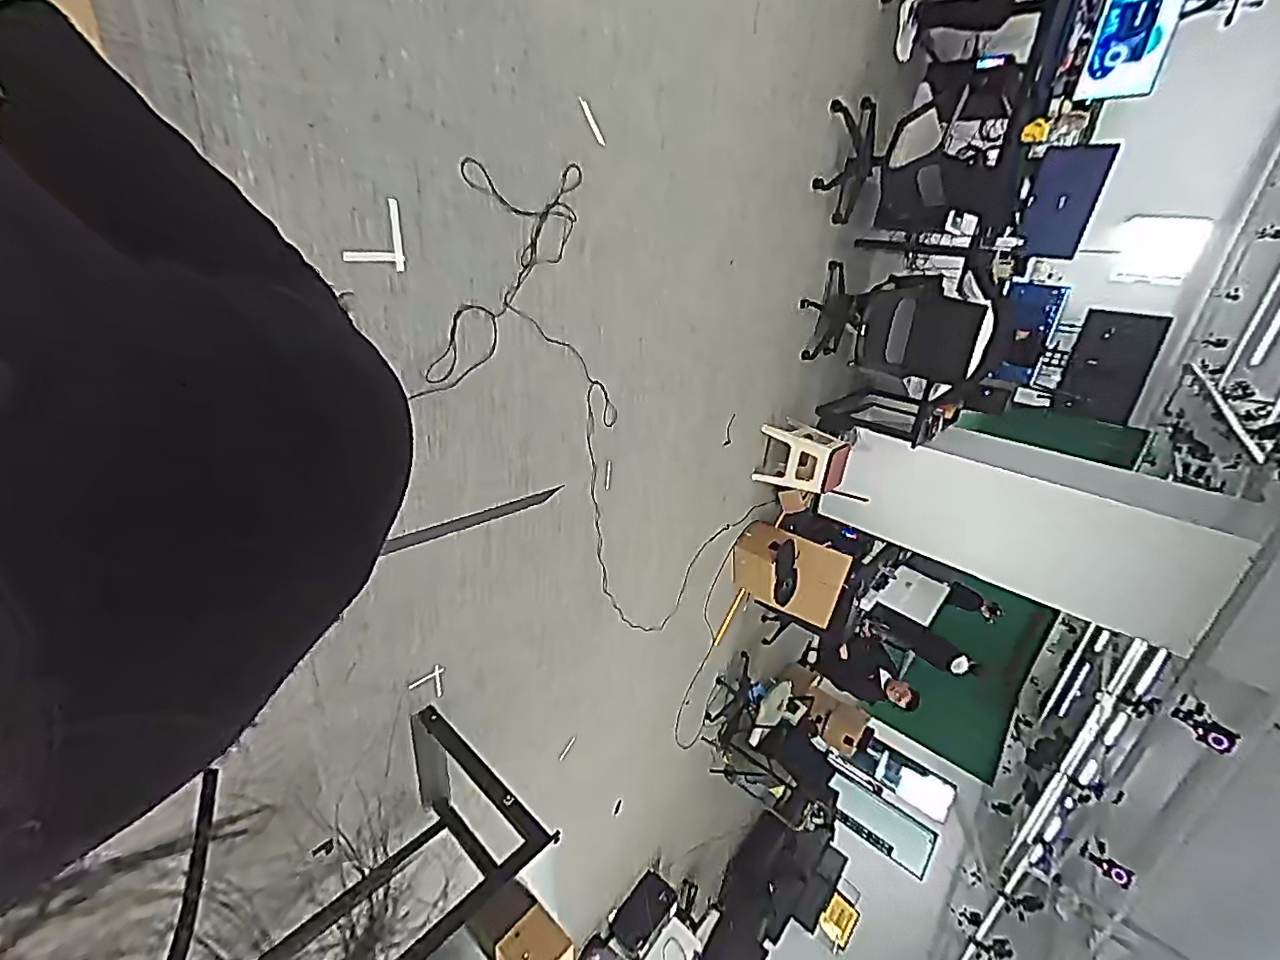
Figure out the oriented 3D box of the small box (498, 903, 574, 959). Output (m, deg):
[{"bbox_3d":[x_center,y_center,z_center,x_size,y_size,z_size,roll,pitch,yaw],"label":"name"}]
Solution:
[{"bbox_3d":[-0.318,1.449,1.646,0.168,0.176,0.179,-23,127,-43],"label":"small box"}]
